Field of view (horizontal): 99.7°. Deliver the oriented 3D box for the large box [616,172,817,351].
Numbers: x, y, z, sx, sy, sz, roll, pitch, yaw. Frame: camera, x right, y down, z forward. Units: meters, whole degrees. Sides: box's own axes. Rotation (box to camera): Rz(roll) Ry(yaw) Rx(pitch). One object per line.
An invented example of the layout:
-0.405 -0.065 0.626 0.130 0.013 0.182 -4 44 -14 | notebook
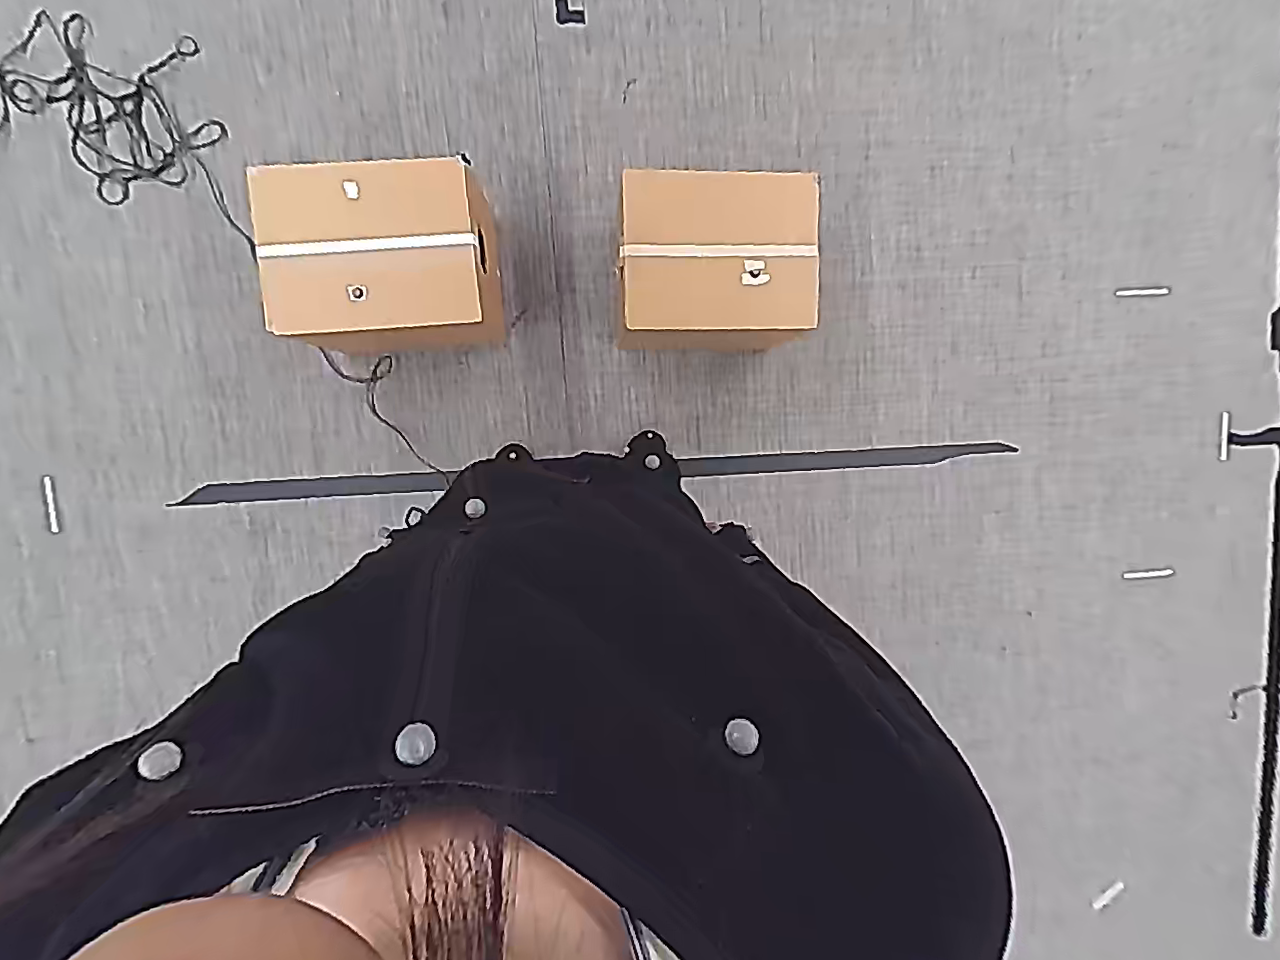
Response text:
0.155 -0.481 1.257 0.408 0.320 0.320 -1 96 -6 | large box
